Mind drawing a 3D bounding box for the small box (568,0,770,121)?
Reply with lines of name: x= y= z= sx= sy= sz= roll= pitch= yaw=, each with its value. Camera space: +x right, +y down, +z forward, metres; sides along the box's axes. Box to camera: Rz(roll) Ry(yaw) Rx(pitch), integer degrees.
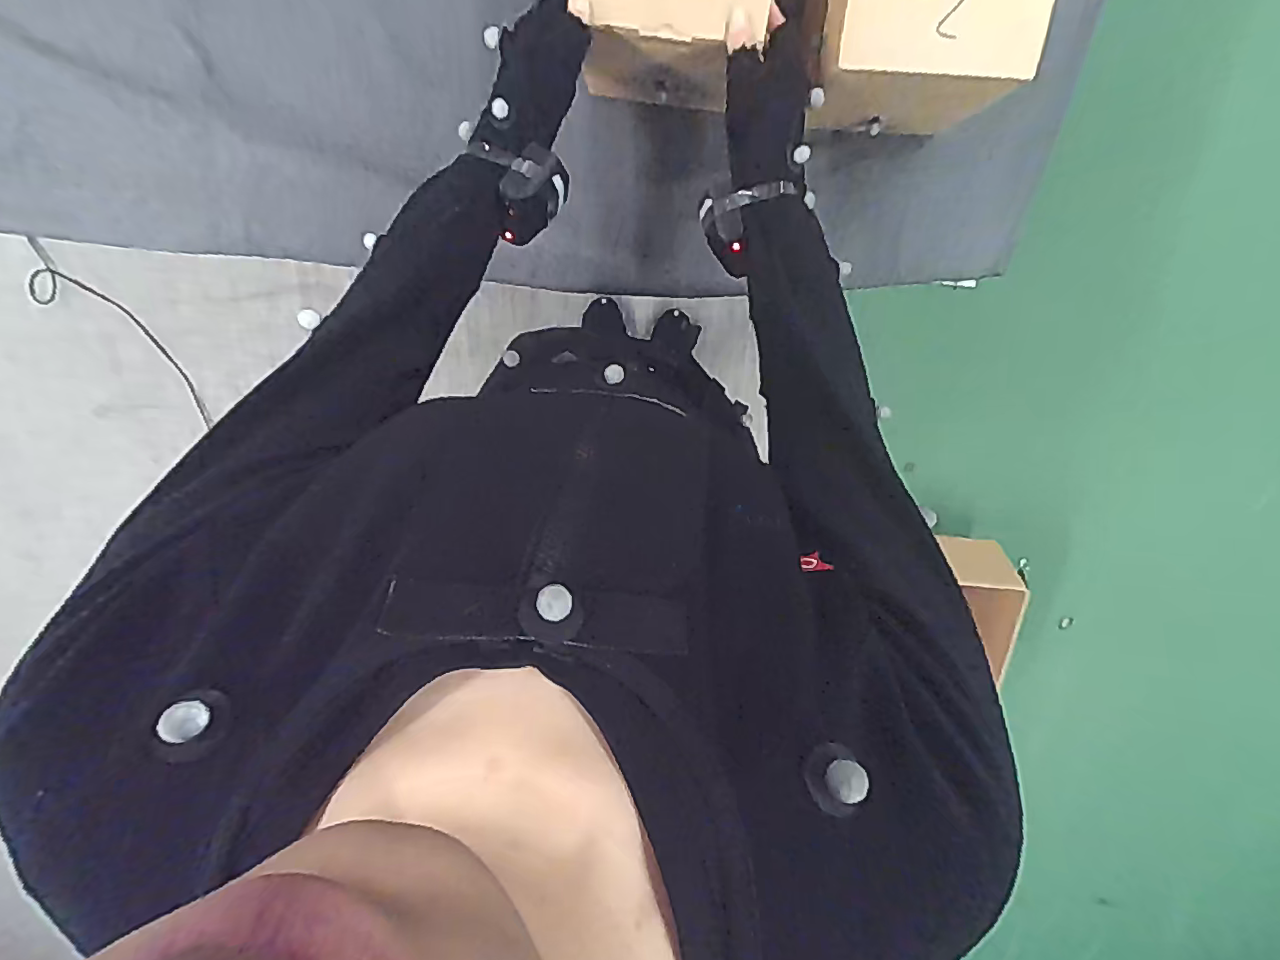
small box: x=0.033 y=-0.469 z=0.500 sx=0.168 sy=0.176 sz=0.179 roll=8 pitch=108 yaw=-1
